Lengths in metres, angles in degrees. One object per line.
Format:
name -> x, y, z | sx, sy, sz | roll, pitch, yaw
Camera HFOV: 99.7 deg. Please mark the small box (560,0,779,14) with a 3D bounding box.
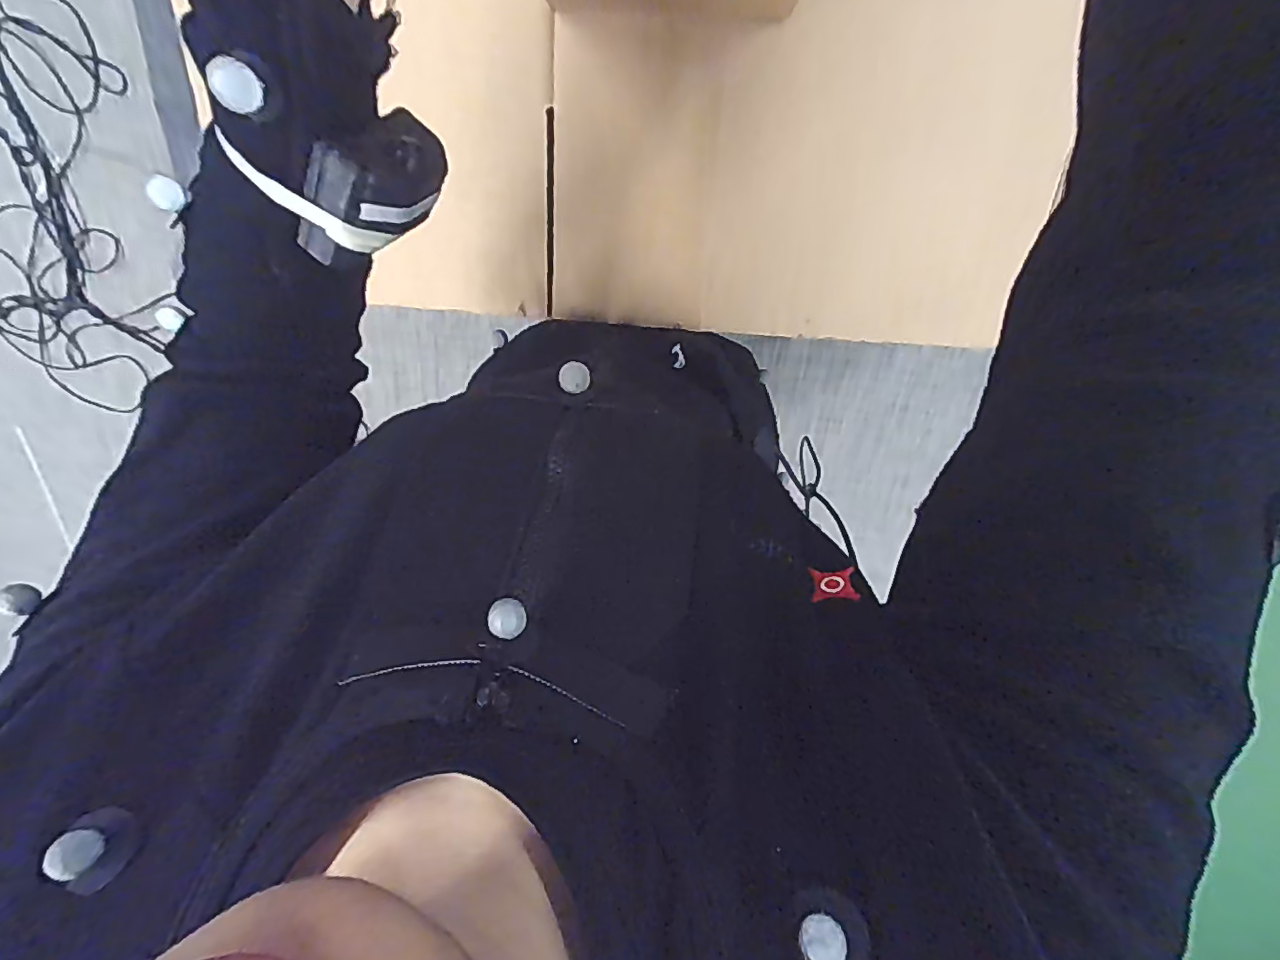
small box -> 0.023, -0.371, 0.271 | 0.179, 0.176, 0.168 | 4, 112, 4
